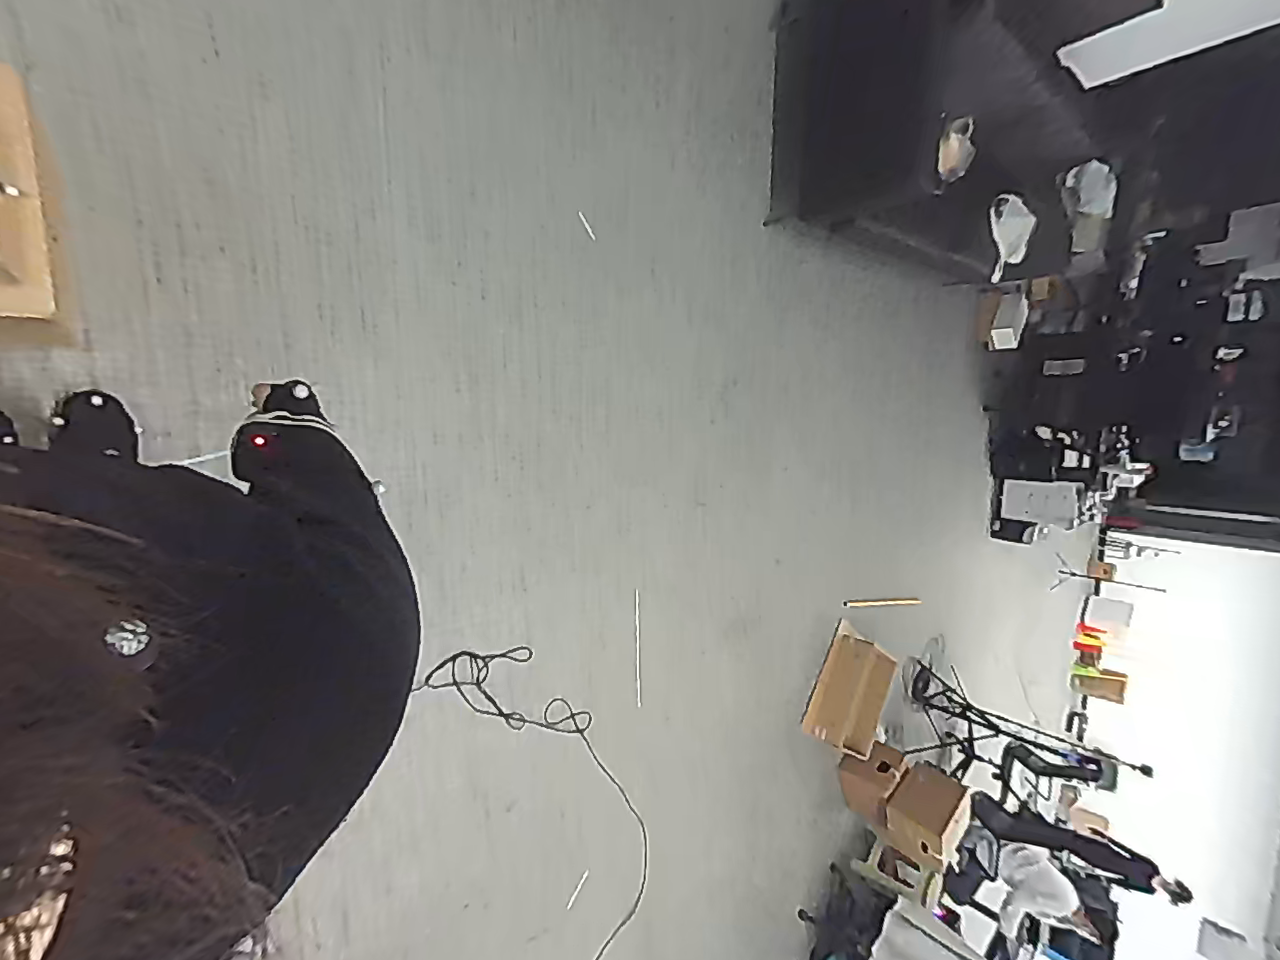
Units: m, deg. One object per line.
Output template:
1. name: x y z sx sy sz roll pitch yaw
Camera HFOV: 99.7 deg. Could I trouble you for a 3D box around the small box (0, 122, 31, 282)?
1. small box: -0.788 -0.324 0.574 0.168 0.176 0.179 -2 96 -41
